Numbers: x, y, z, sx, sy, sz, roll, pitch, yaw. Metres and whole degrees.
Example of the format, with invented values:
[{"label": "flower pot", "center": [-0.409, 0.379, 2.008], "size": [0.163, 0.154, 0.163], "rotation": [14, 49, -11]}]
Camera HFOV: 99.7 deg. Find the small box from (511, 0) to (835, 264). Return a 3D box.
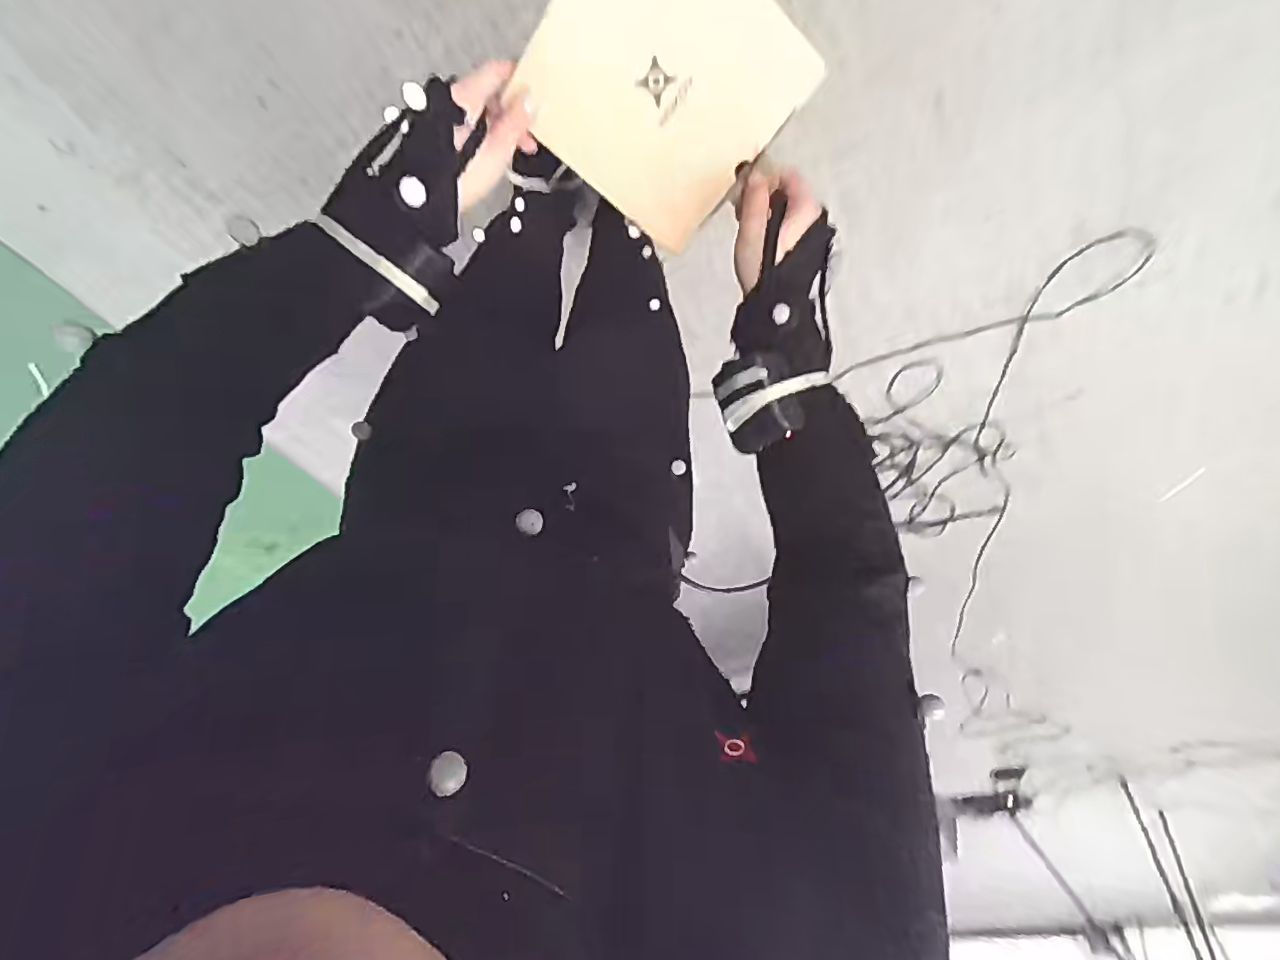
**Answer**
[{"label": "small box", "center": [0.022, -0.320, 0.450], "size": [0.179, 0.176, 0.168], "rotation": [32, 121, -23]}]
